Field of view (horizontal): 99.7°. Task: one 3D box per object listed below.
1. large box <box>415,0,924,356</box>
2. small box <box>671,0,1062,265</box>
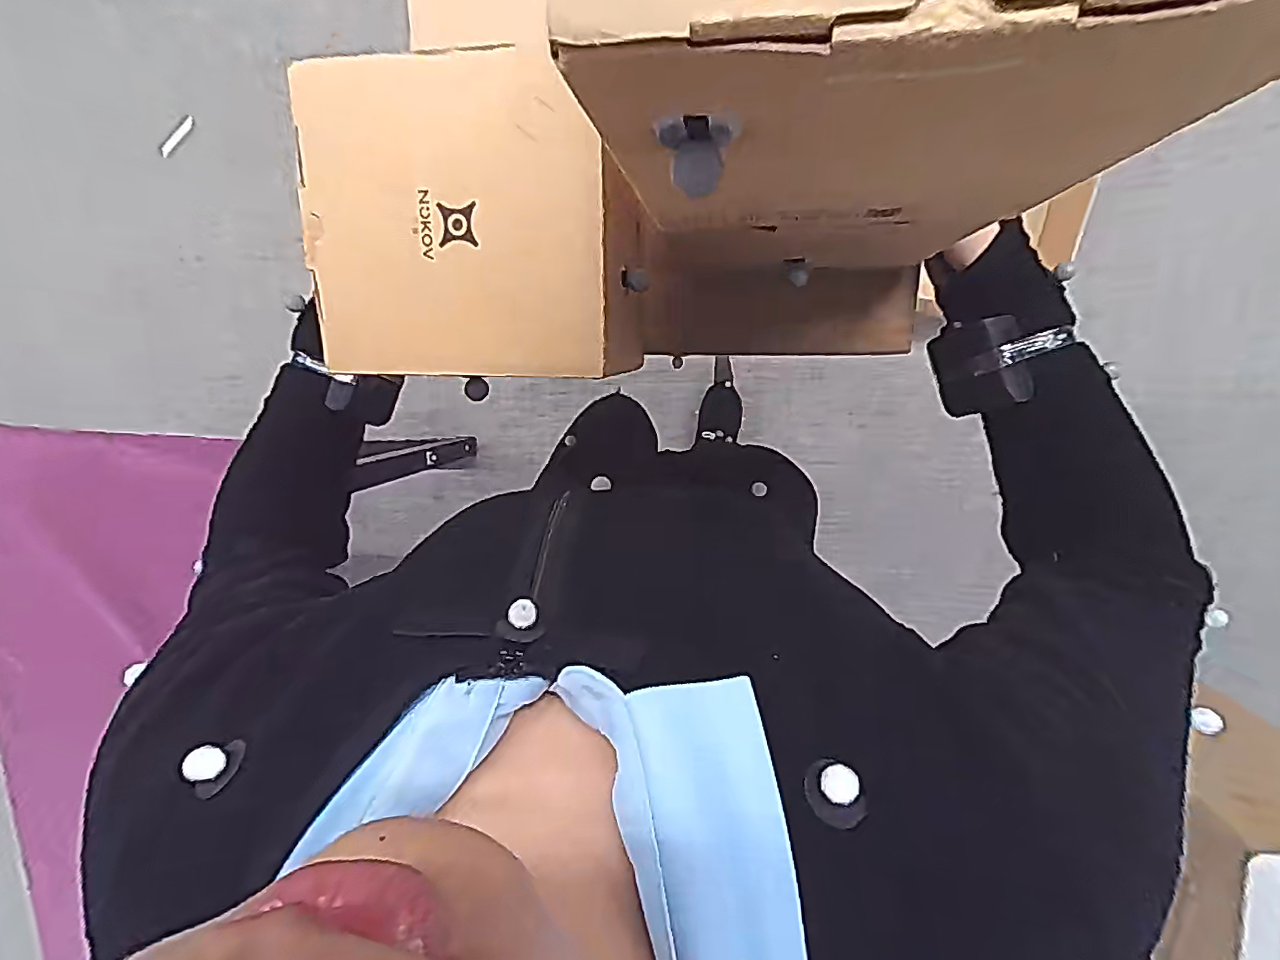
[{"bbox_3d":[0.046,-0.295,0.566,0.408,0.320,0.320,2,102,10],"label":"large box"},{"bbox_3d":[0.110,-0.233,0.314,0.168,0.176,0.179,2,103,11],"label":"small box"}]
